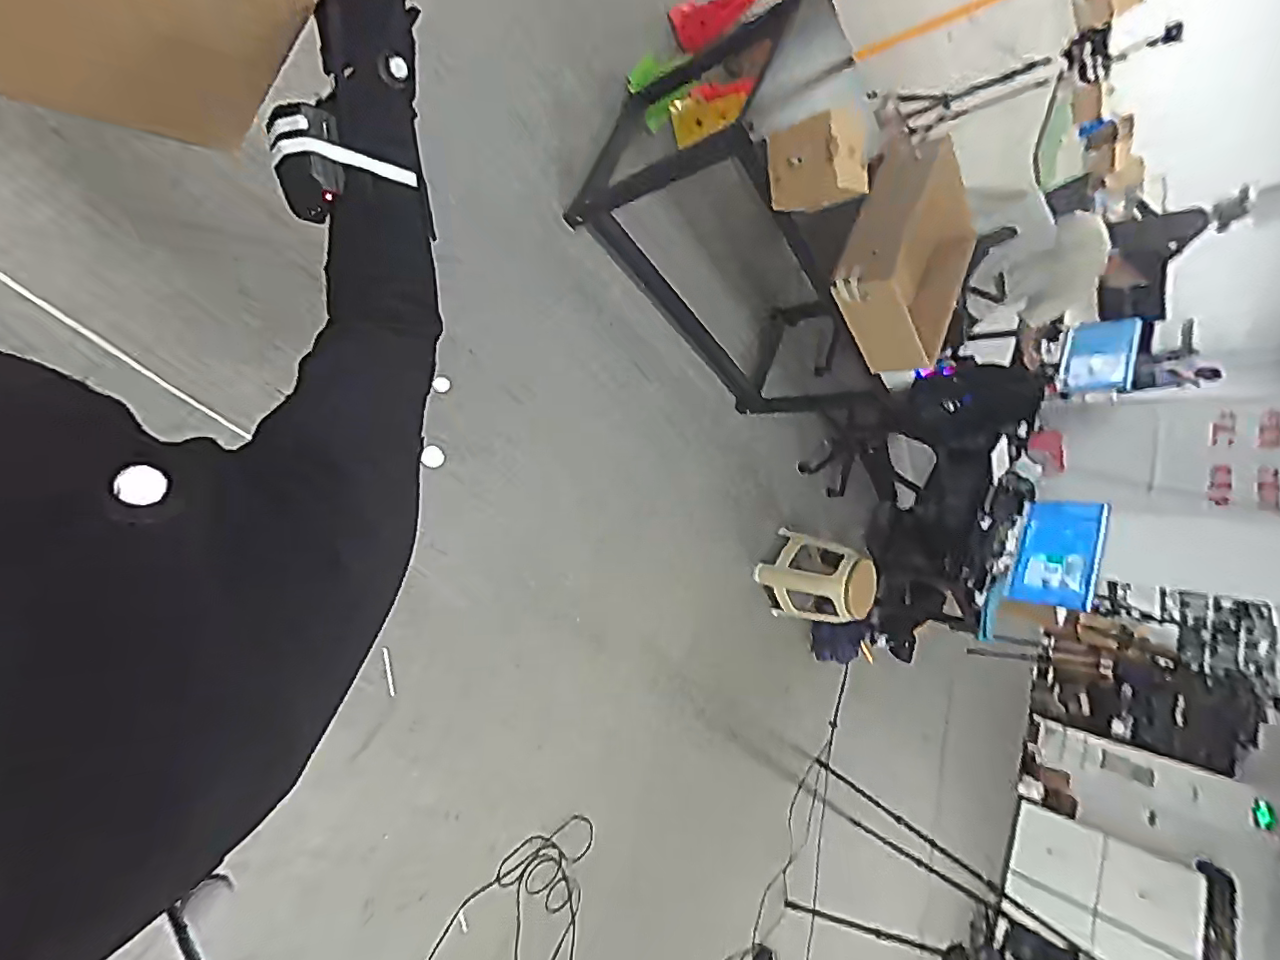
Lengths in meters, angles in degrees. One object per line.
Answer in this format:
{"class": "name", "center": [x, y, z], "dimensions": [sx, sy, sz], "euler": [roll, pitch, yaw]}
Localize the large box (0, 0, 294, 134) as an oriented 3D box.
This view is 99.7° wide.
{"class": "large box", "center": [-0.459, -0.462, 0.288], "dimensions": [0.408, 0.320, 0.320], "euler": [-12, 101, -46]}
